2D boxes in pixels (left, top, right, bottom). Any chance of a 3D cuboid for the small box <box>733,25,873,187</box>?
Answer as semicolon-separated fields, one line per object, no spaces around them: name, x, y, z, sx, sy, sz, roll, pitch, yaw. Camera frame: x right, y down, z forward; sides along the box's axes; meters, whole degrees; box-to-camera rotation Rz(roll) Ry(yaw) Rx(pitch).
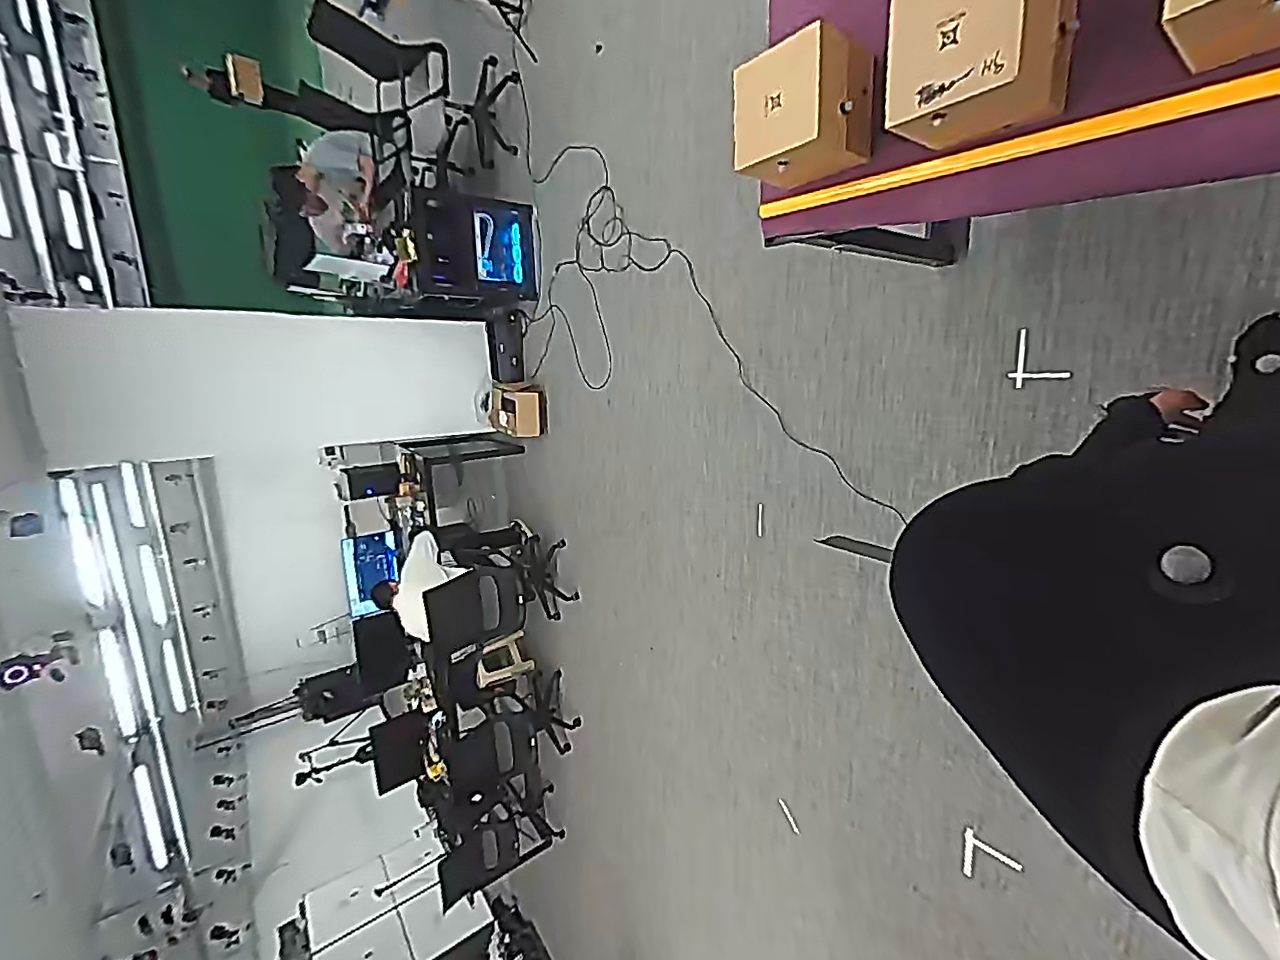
small box;0.282;-0.632;0.940;0.179;0.176;0.168;12;108;51

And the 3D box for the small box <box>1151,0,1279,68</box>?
small box;0.621;-0.526;0.497;0.179;0.176;0.168;14;108;53

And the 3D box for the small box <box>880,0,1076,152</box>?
small box;0.450;-0.574;0.723;0.168;0.176;0.179;16;110;53
